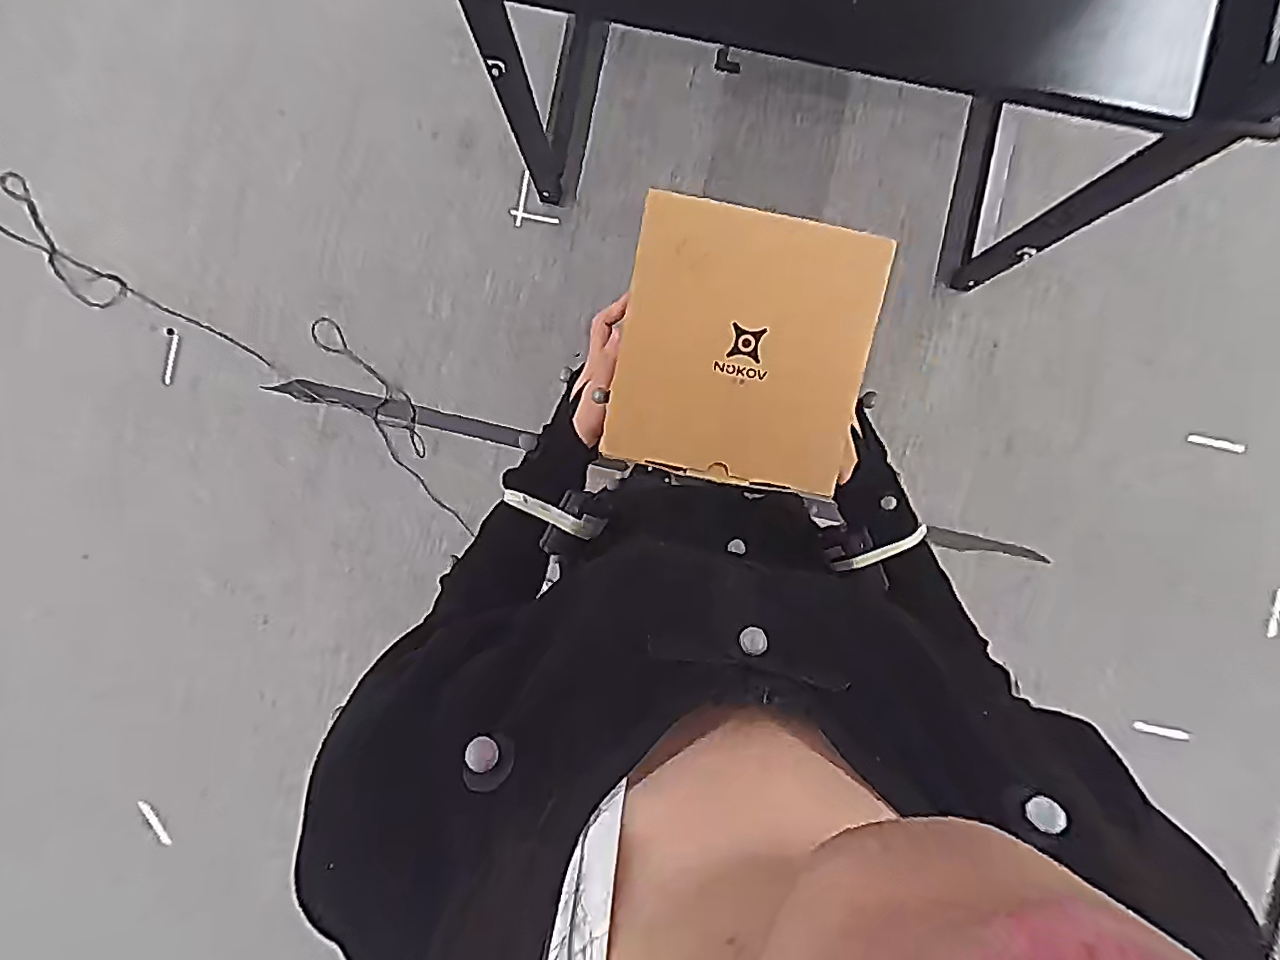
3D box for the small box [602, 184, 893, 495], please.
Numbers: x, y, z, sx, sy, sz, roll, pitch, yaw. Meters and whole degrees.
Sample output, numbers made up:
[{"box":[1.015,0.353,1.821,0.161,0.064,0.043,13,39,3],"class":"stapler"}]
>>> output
[{"box":[0.067,-0.101,0.435,0.168,0.176,0.179,10,100,-2],"class":"small box"}]
